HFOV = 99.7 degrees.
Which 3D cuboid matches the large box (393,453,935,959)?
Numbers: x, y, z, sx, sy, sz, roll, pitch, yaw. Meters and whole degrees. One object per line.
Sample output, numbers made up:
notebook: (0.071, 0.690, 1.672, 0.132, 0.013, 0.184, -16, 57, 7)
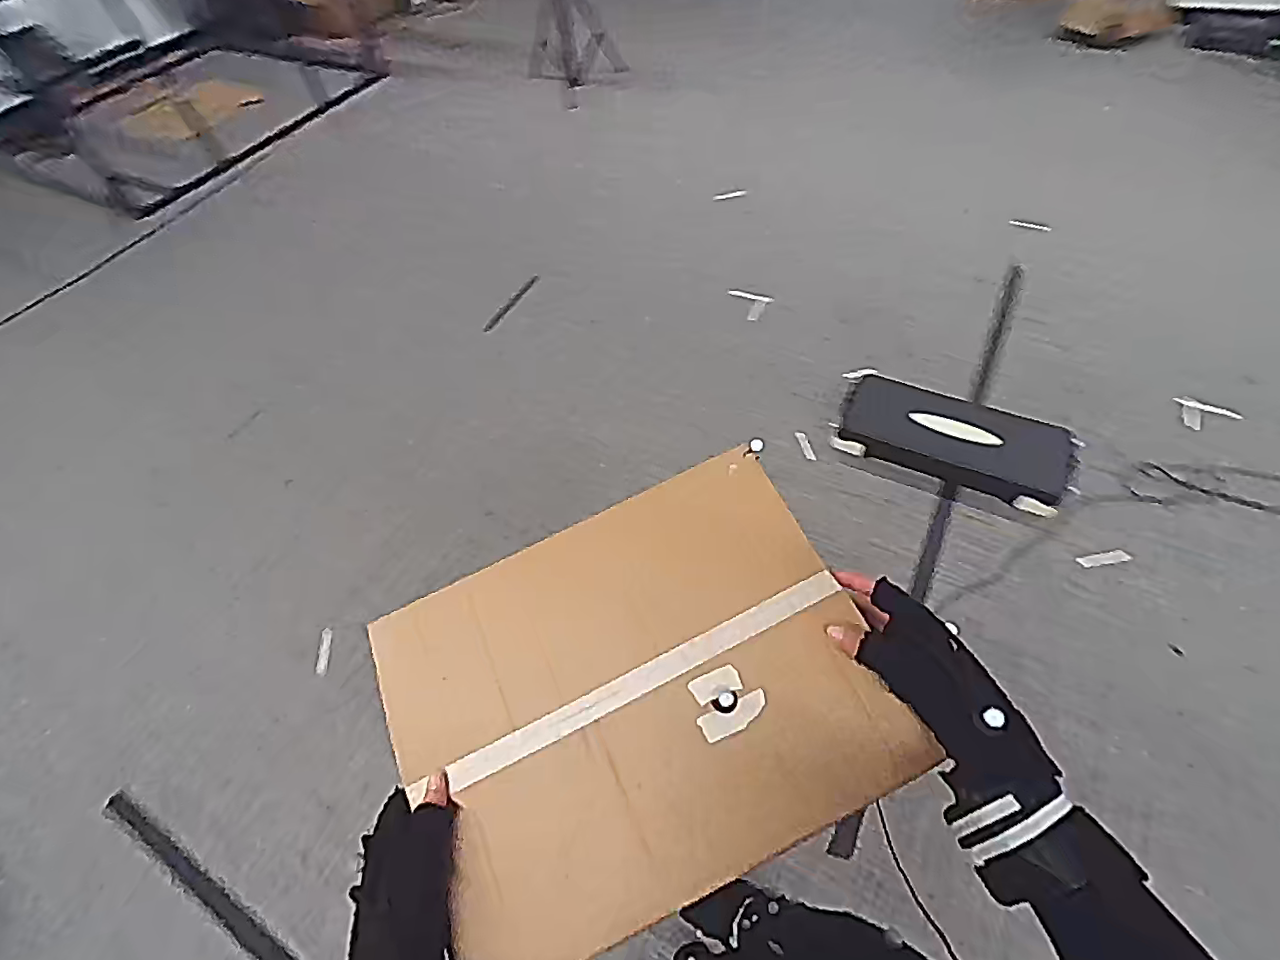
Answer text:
large box: (0.014, 0.240, 0.612, 0.408, 0.320, 0.320, -25, 66, -5)
